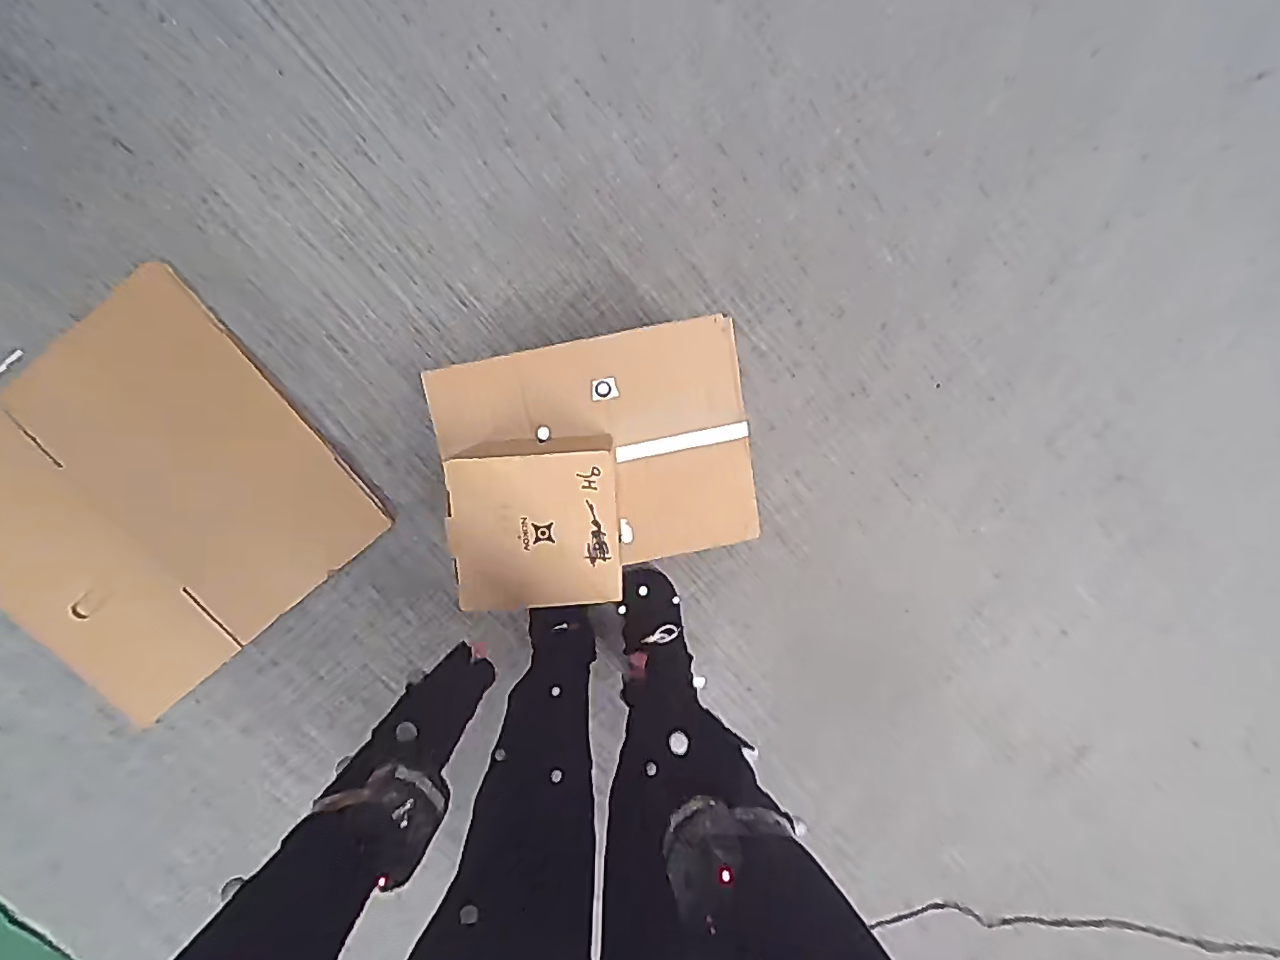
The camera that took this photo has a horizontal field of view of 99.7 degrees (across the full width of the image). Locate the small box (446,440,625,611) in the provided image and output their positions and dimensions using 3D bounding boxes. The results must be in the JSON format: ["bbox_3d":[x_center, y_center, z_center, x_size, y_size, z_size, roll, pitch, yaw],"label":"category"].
[{"bbox_3d":[-0.113,0.044,0.657,0.179,0.176,0.168,-7,98,-1],"label":"small box"}]
